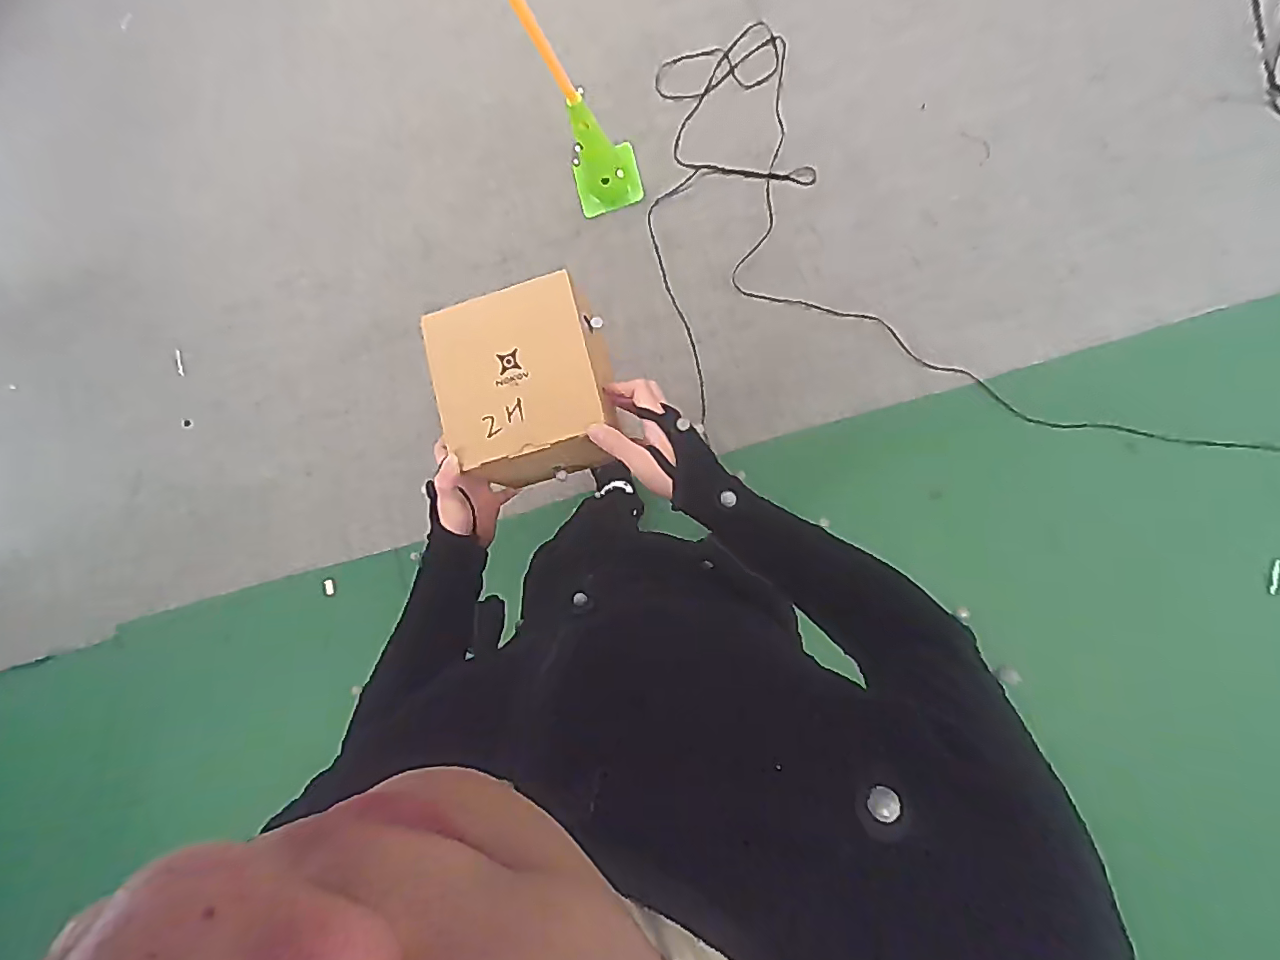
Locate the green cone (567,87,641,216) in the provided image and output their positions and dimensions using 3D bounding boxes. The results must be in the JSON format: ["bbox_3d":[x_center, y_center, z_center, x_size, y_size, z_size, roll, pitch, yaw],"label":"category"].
[{"bbox_3d":[-0.138,-0.948,1.521,0.202,0.368,0.200,-15,85,8],"label":"green cone"}]
